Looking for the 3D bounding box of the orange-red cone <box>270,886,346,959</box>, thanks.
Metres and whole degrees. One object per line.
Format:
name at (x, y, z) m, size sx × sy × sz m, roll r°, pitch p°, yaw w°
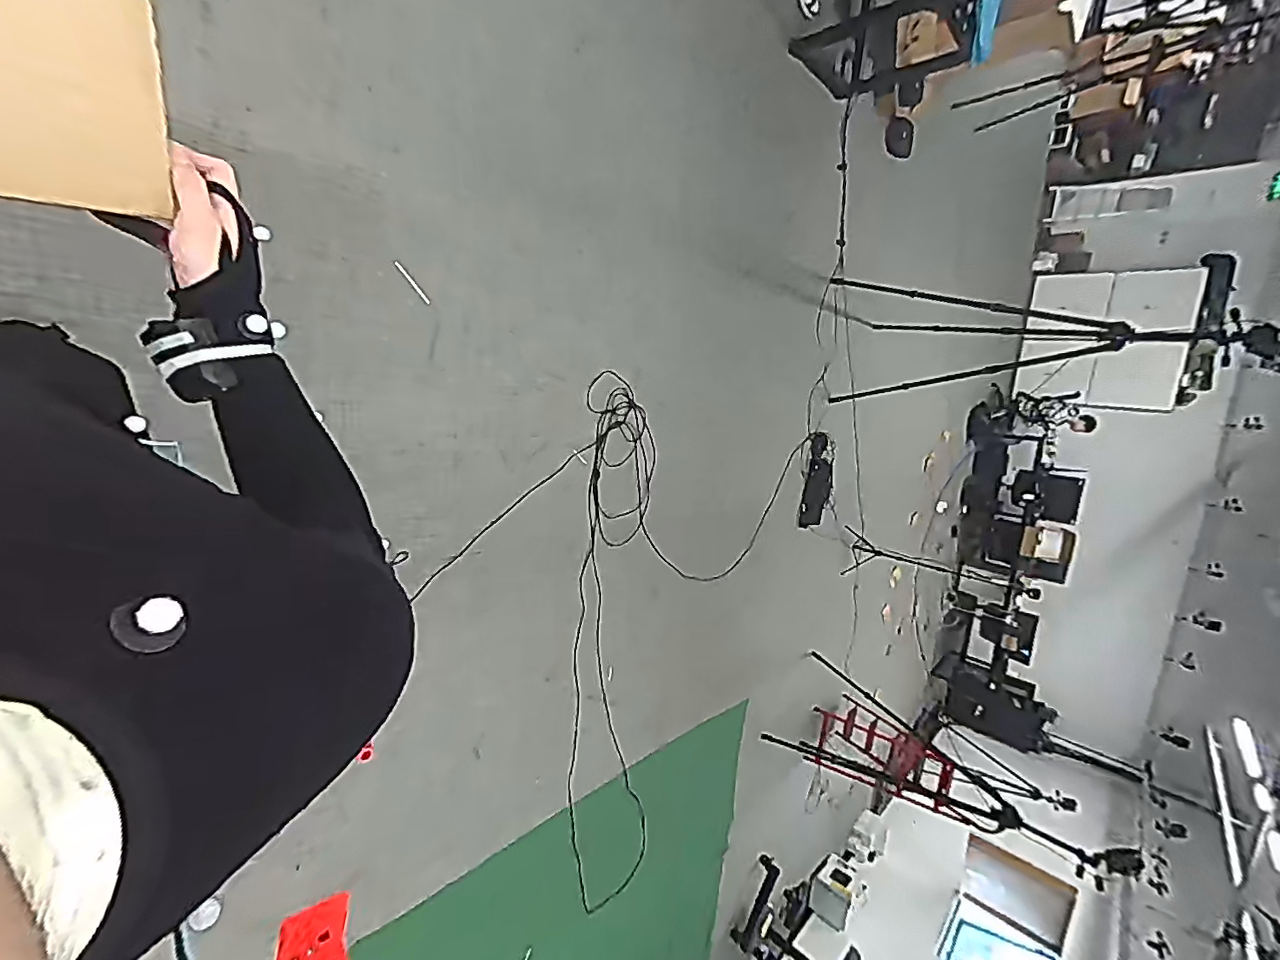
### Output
orange-red cone at (-0.940, 1.466, 1.631) m, size 0.199 × 0.360 × 0.198 m, roll 6°, pitch 97°, yaw -50°
